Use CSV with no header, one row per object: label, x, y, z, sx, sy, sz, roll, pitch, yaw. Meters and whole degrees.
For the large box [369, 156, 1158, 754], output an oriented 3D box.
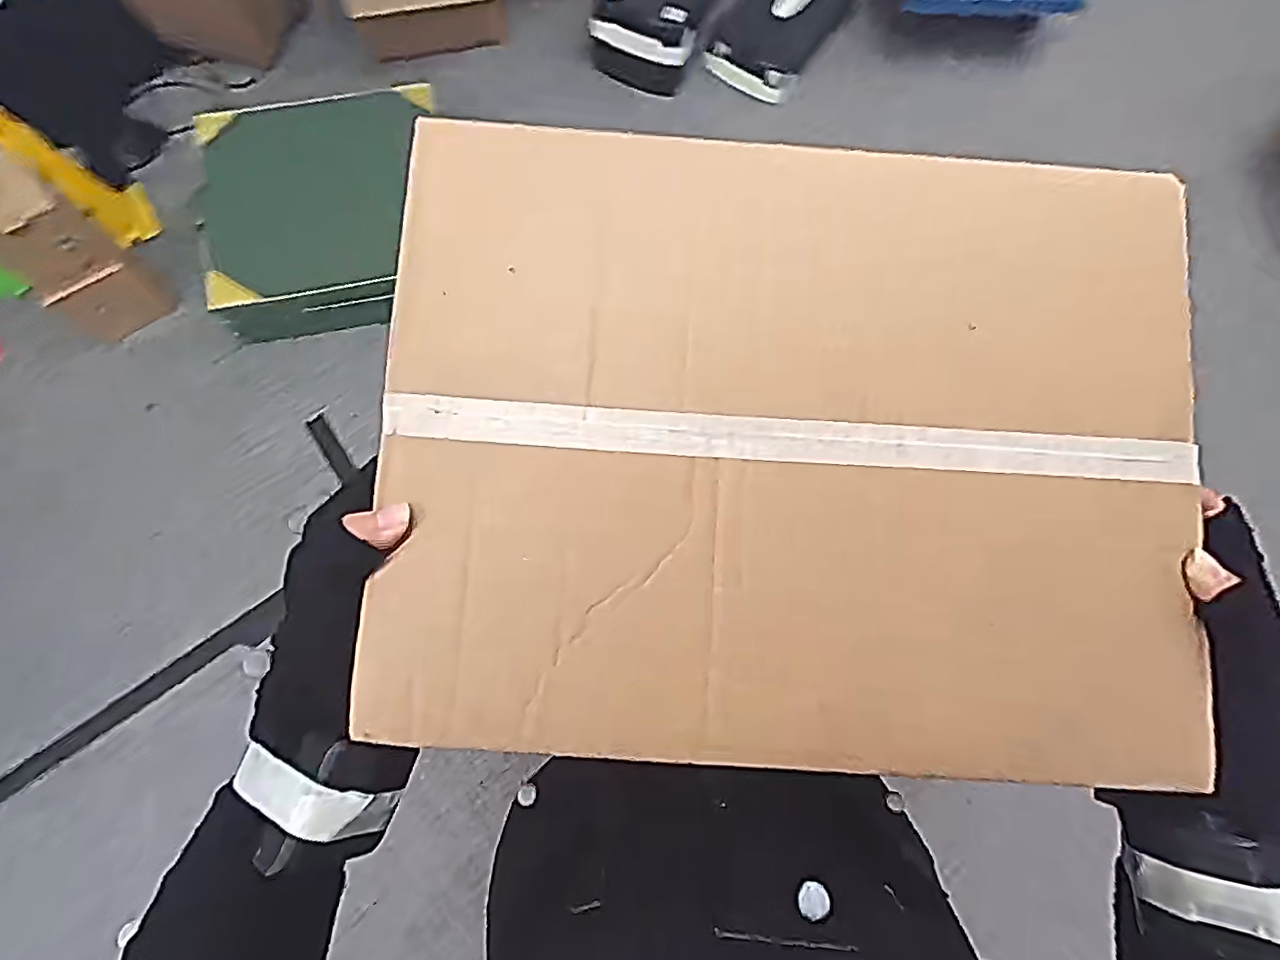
large box,0.067,-0.006,0.430,0.408,0.320,0.320,2,83,-1
